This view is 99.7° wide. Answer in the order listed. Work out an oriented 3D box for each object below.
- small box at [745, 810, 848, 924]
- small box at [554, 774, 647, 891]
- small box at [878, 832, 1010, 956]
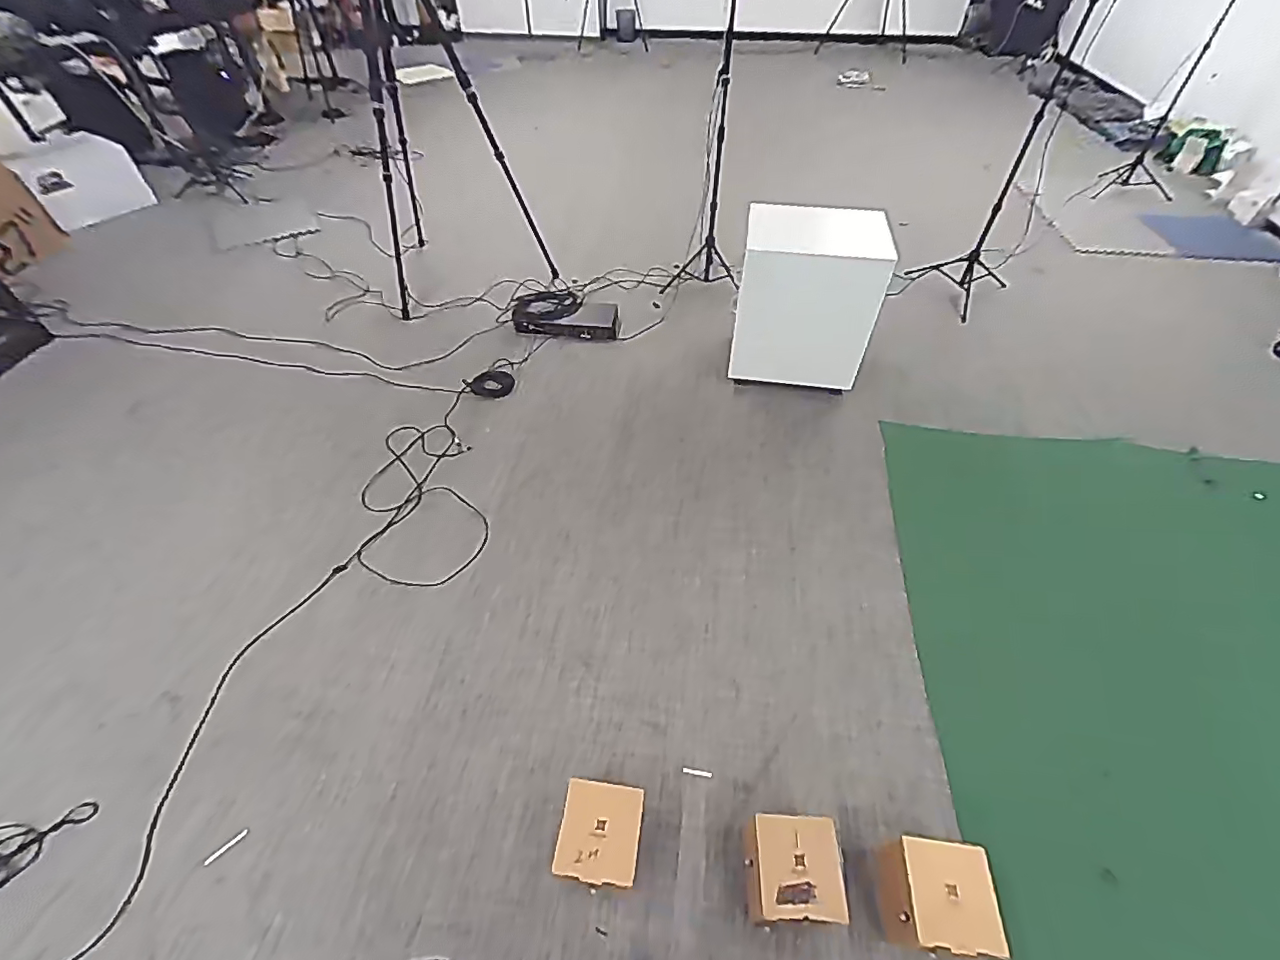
[{"bbox_3d":[0.318,0.815,1.136,0.168,0.176,0.179,3,48,2],"label":"small box"},{"bbox_3d":[-0.079,0.766,1.174,0.168,0.176,0.179,6,49,6],"label":"small box"},{"bbox_3d":[0.608,0.850,1.109,0.168,0.176,0.179,5,49,5],"label":"small box"}]
